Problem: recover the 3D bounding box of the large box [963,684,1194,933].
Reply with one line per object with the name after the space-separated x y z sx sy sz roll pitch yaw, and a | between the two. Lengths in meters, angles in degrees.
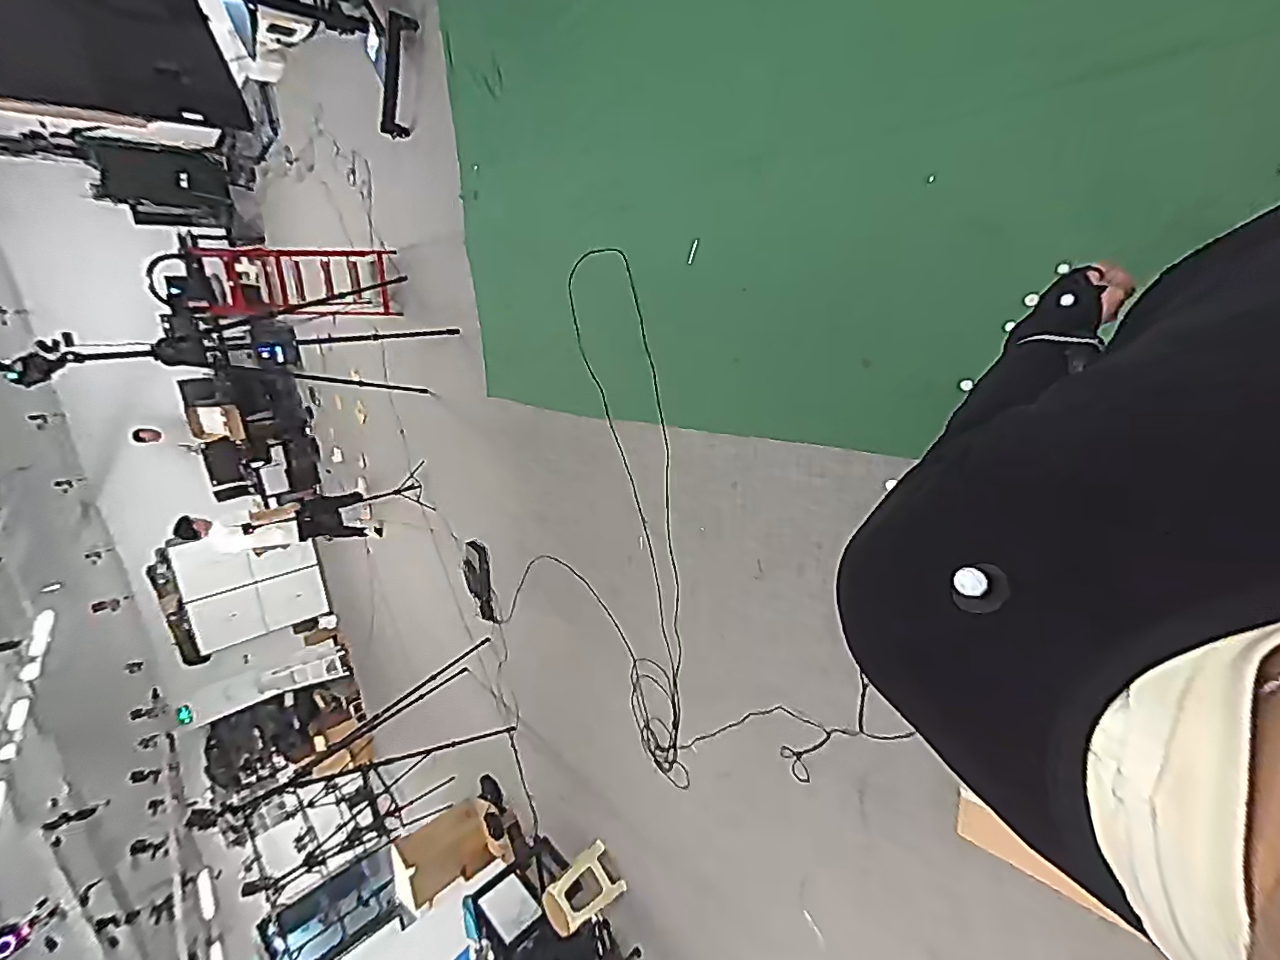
1.110 0.797 1.391 0.408 0.320 0.320 12 113 45 | large box
